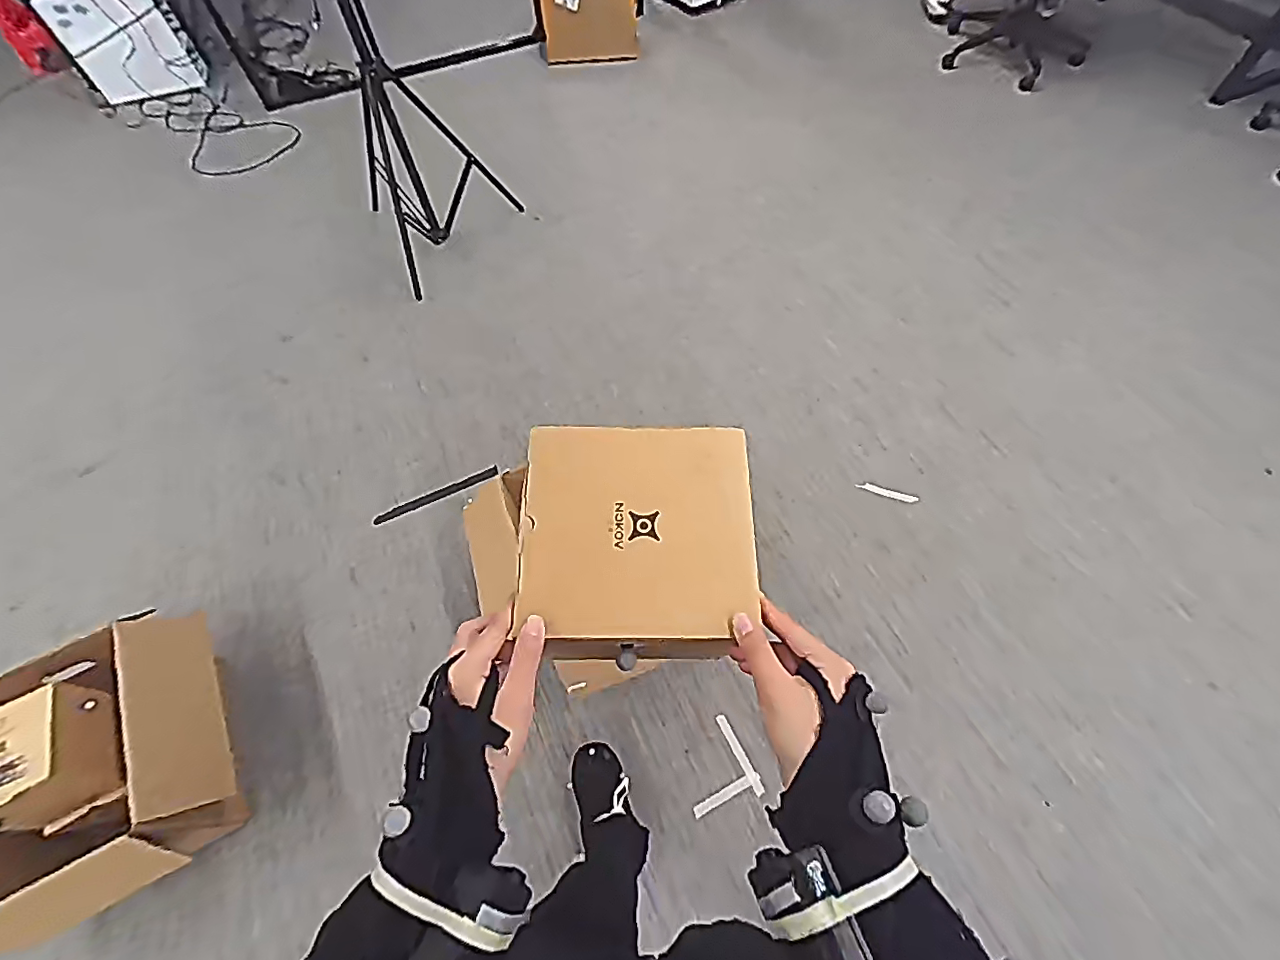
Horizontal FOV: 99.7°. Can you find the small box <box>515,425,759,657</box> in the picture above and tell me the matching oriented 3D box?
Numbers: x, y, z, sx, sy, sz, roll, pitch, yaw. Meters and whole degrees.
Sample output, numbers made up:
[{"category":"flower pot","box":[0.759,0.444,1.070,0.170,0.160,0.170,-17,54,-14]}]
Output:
[{"category":"small box","box":[-0.004,0.063,0.484,0.179,0.176,0.168,0,66,-1]}]
